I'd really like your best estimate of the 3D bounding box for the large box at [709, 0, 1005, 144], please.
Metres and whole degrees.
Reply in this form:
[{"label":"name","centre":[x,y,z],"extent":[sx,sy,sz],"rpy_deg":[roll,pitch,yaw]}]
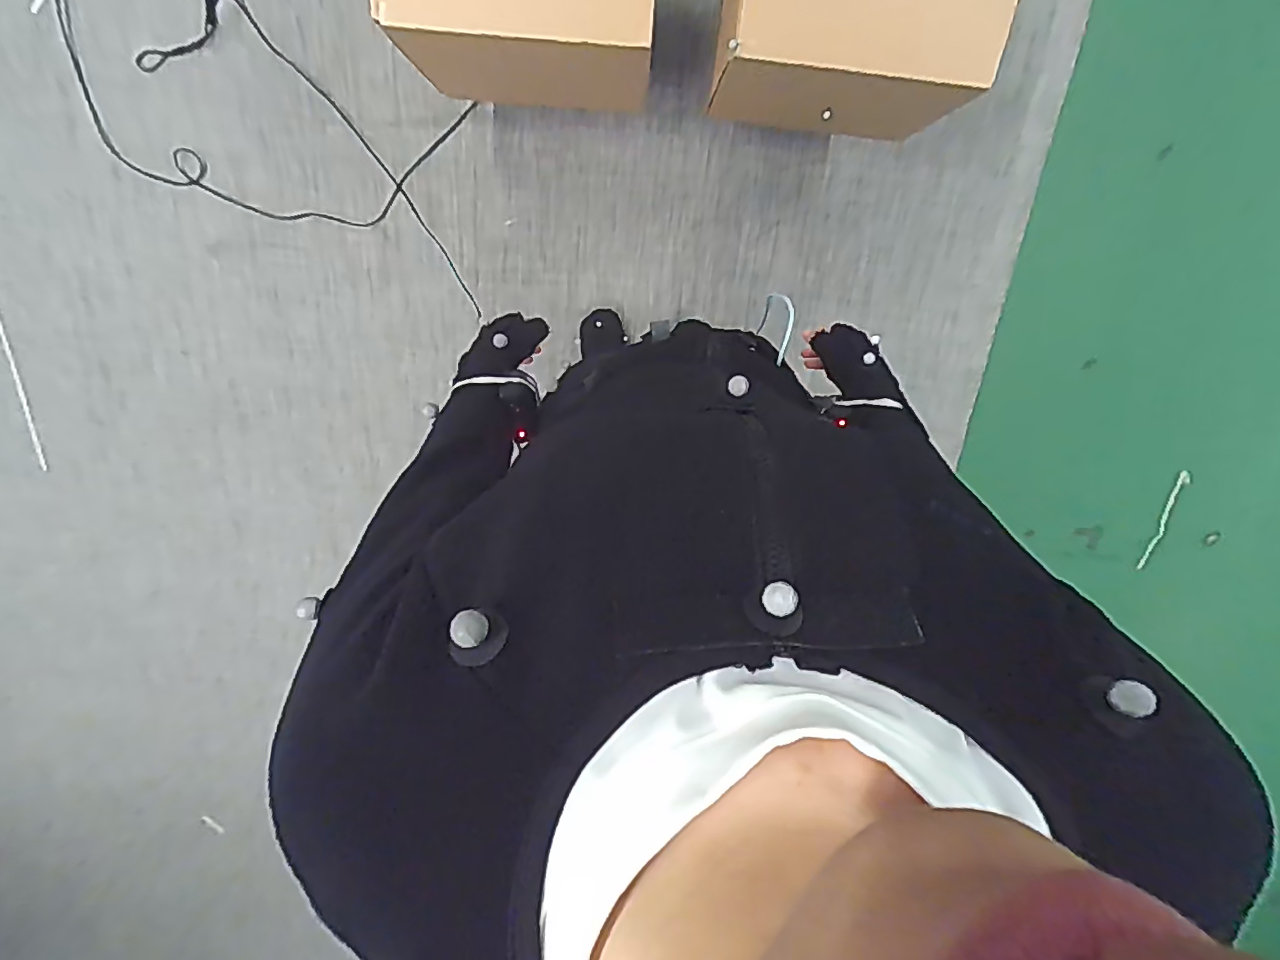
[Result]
[{"label":"large box","centre":[0.355,-0.808,0.936],"extent":[0.408,0.320,0.320],"rpy_deg":[6,108,-2]}]
